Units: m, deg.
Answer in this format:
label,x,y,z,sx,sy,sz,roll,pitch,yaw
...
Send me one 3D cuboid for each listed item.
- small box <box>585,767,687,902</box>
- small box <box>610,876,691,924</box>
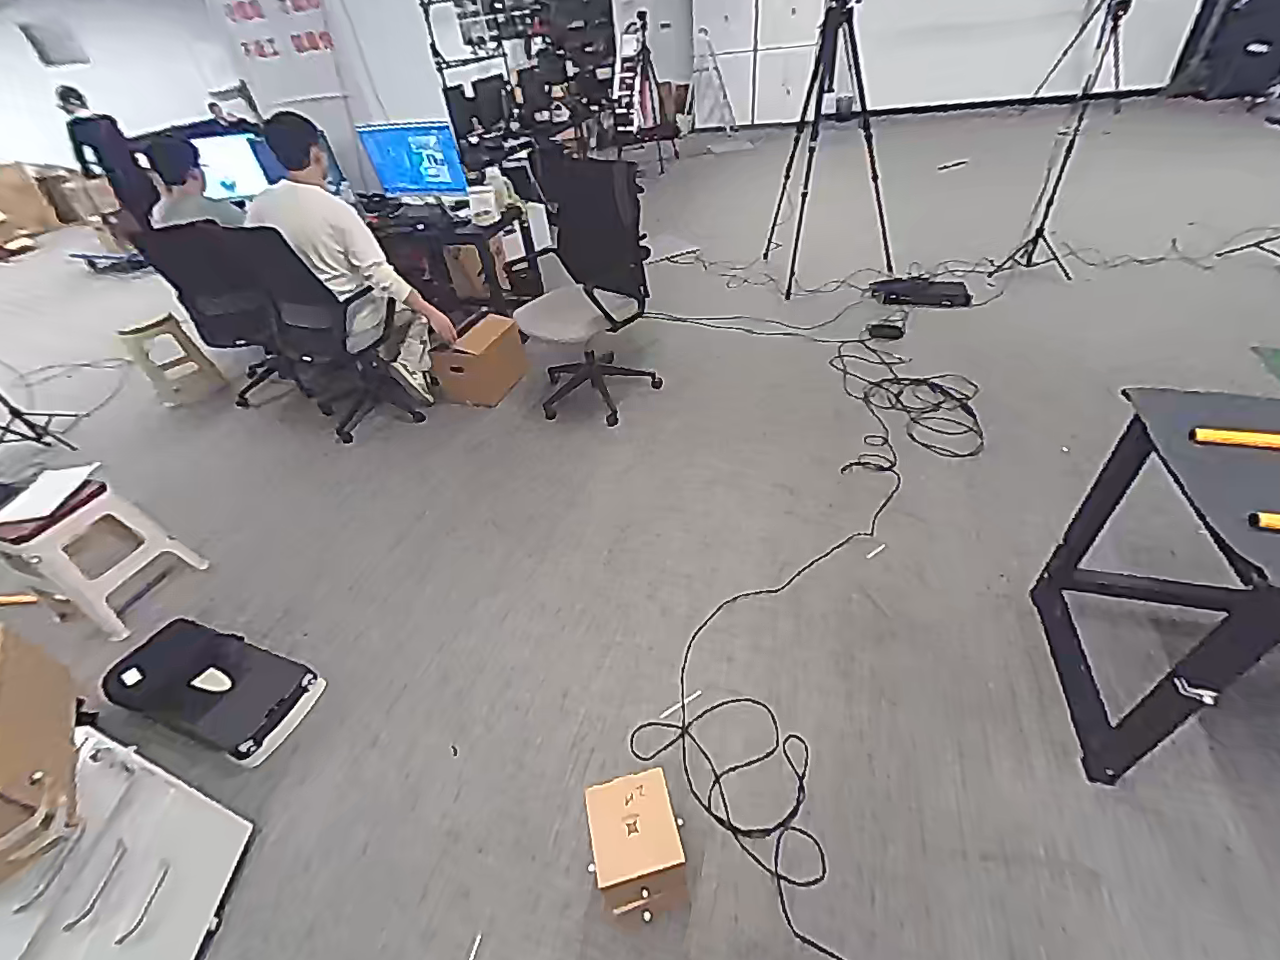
label,x,y,z,sx,sy,sz,roll,pitch,yaw
small box,-0.007,0.726,1.101,0.168,0.176,0.179,-13,41,-7
small box,0.007,0.852,1.206,0.168,0.176,0.179,-17,42,-11
